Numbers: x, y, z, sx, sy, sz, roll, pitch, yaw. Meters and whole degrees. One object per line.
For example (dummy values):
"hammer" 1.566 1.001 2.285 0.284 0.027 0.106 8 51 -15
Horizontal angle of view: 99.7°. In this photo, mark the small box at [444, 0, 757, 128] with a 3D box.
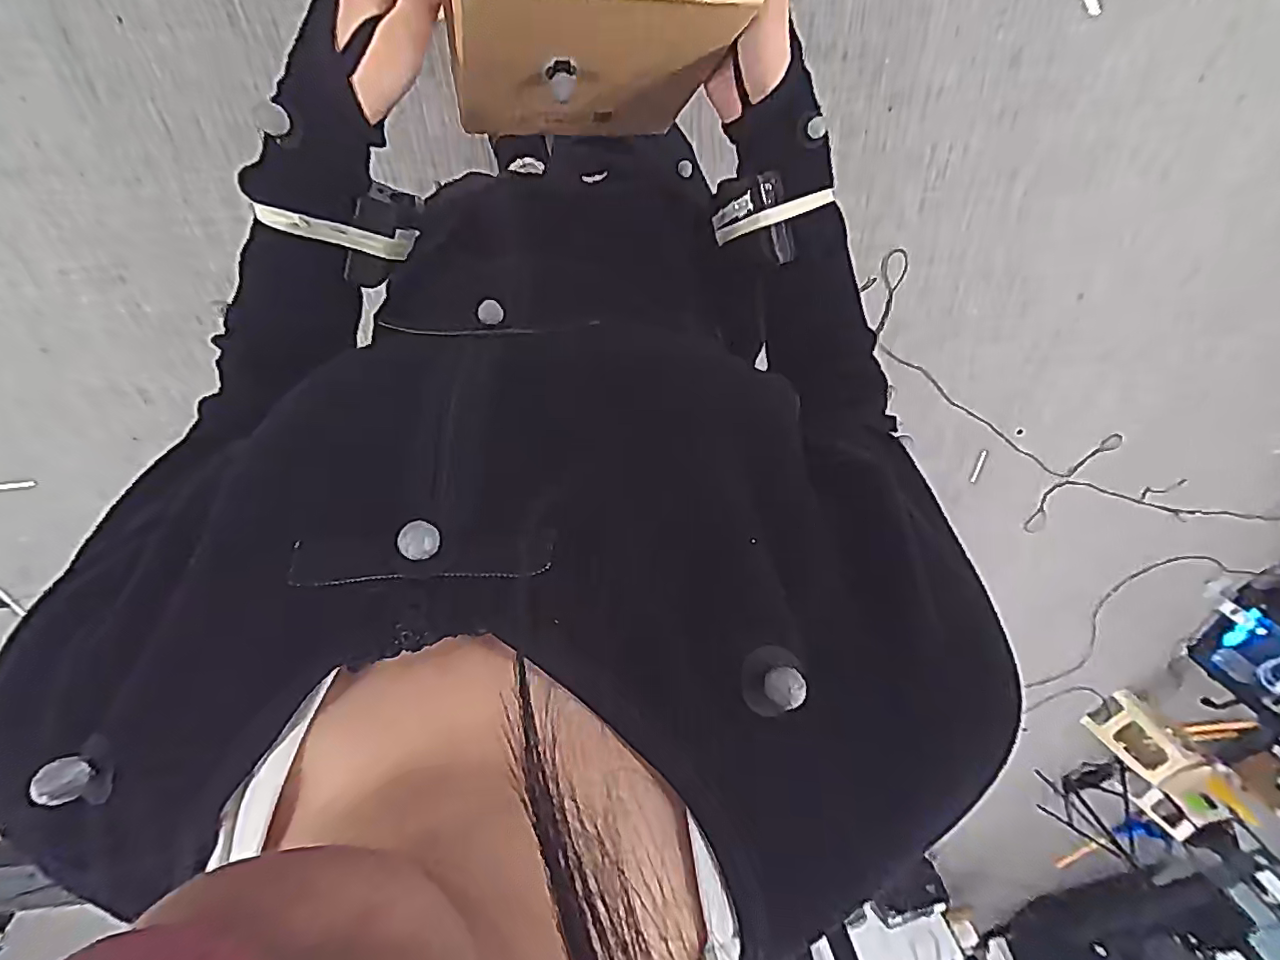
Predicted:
"small box" -0.041 -0.348 0.339 0.168 0.176 0.179 -10 101 -15
